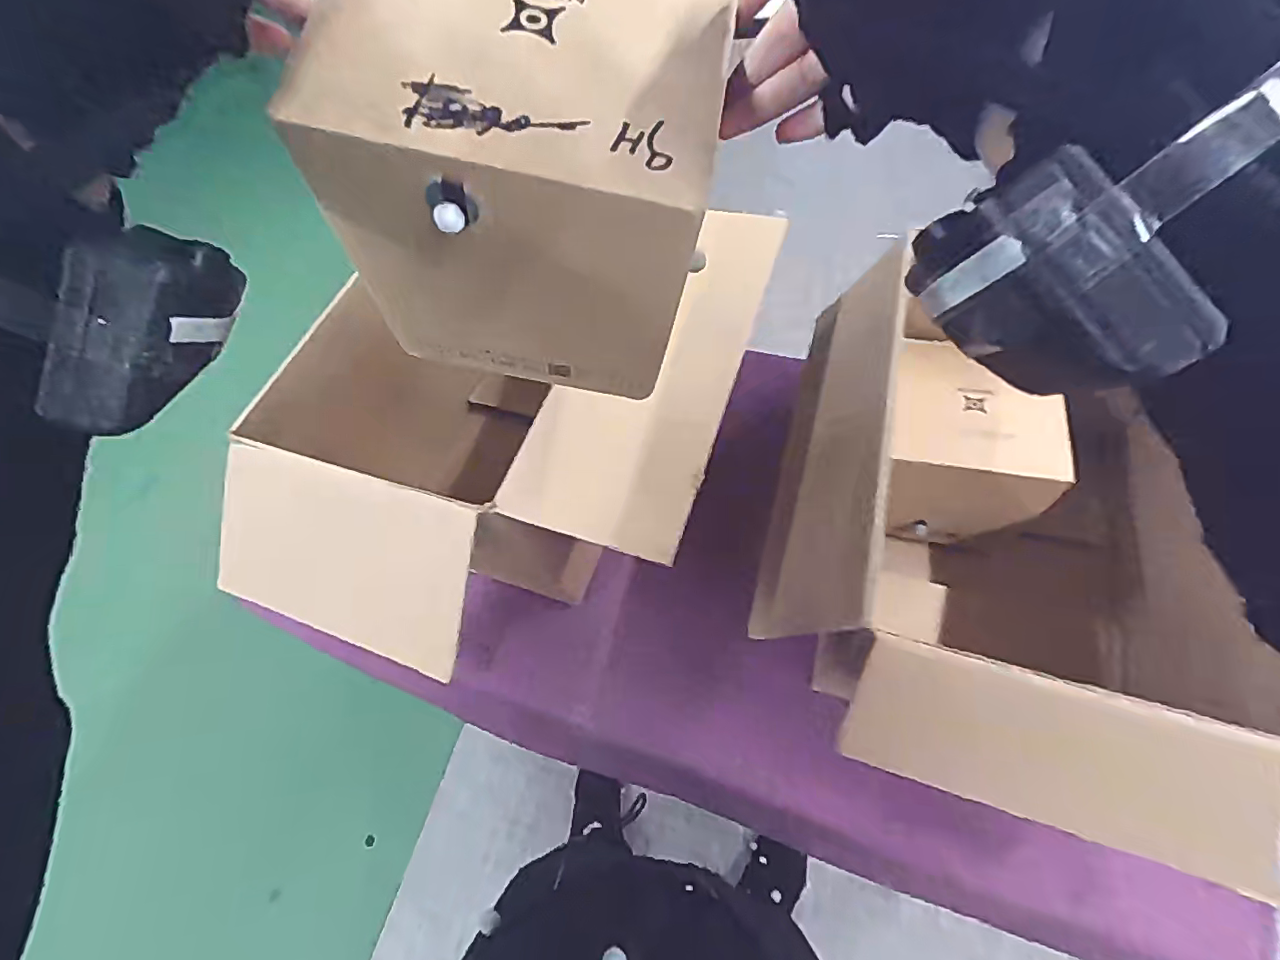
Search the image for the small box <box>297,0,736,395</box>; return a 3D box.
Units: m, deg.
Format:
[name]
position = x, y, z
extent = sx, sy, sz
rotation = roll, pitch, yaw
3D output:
[small box]
position = -0.051, -0.176, 0.318
extent = 0.168, 0.176, 0.179
rotation = 10, 71, -3
